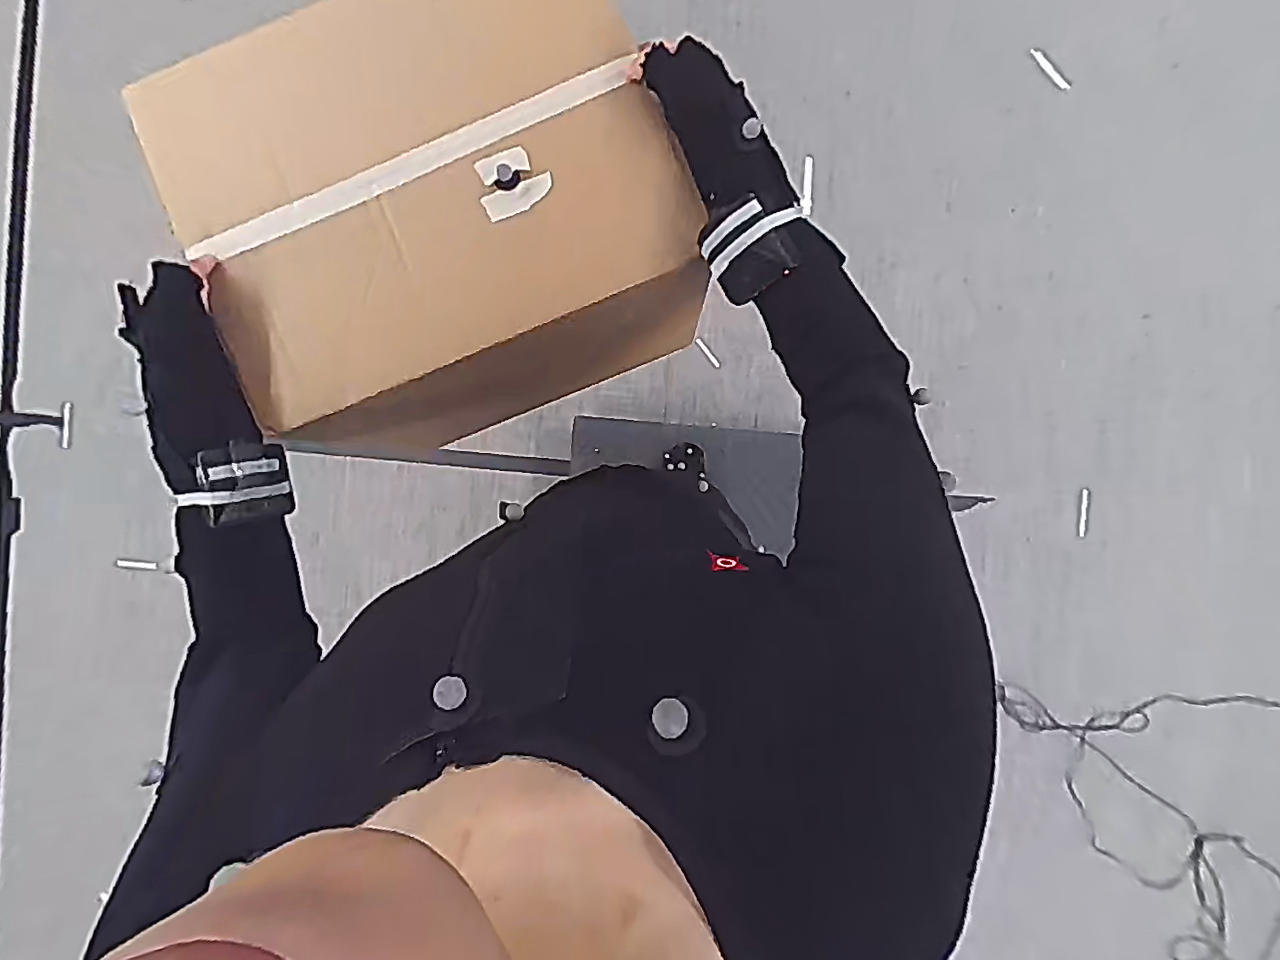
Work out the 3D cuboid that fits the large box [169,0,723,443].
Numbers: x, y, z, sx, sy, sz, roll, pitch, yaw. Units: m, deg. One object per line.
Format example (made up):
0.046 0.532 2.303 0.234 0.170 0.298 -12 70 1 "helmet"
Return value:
-0.165 -0.264 0.604 0.408 0.320 0.320 -22 90 1 "large box"
